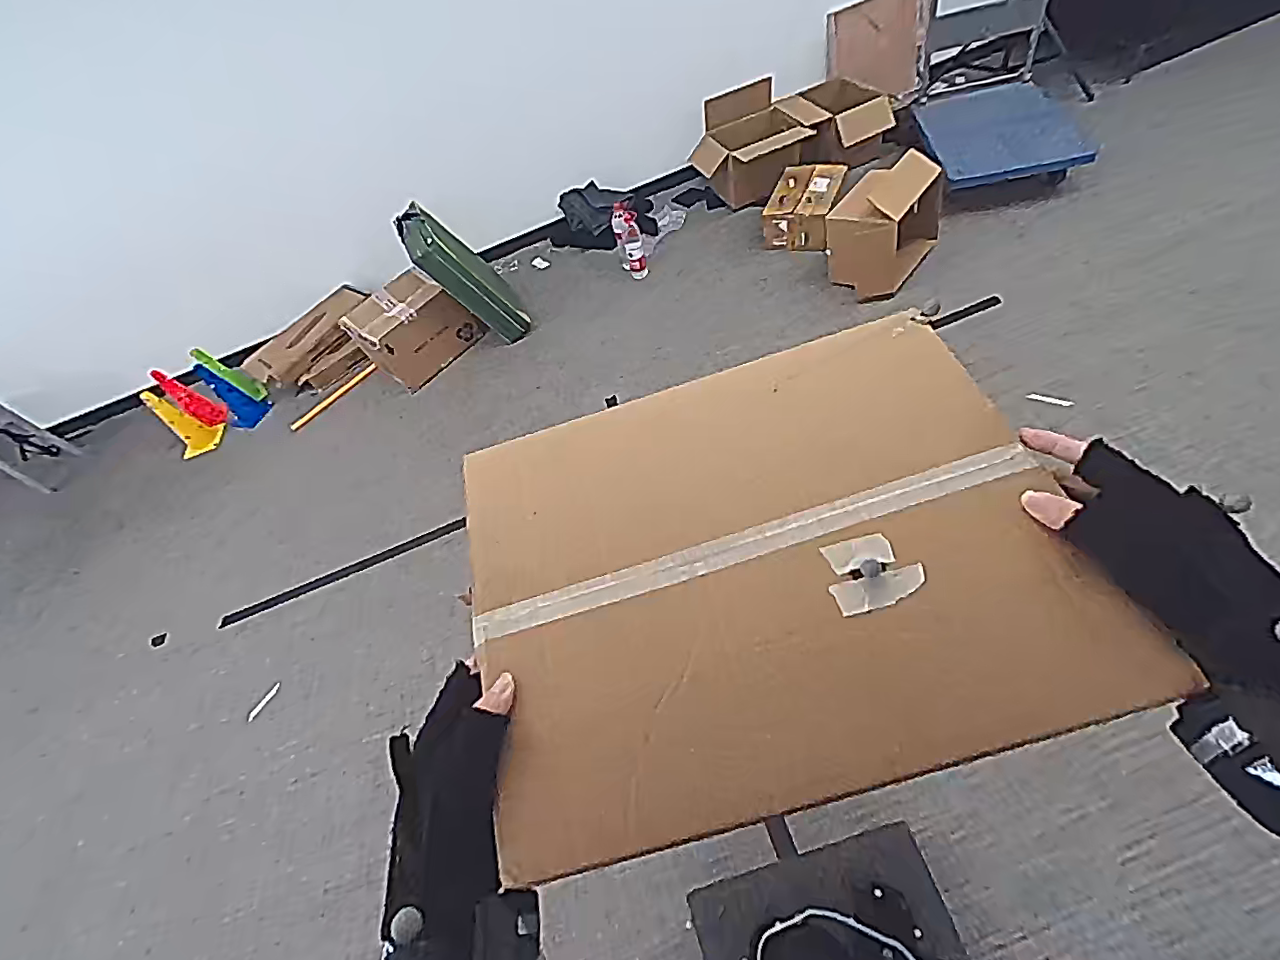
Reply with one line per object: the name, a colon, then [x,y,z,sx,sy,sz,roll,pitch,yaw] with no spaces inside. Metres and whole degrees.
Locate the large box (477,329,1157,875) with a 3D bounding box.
large box: [0.106,0.126,0.523,0.408,0.320,0.320,-18,59,2]
